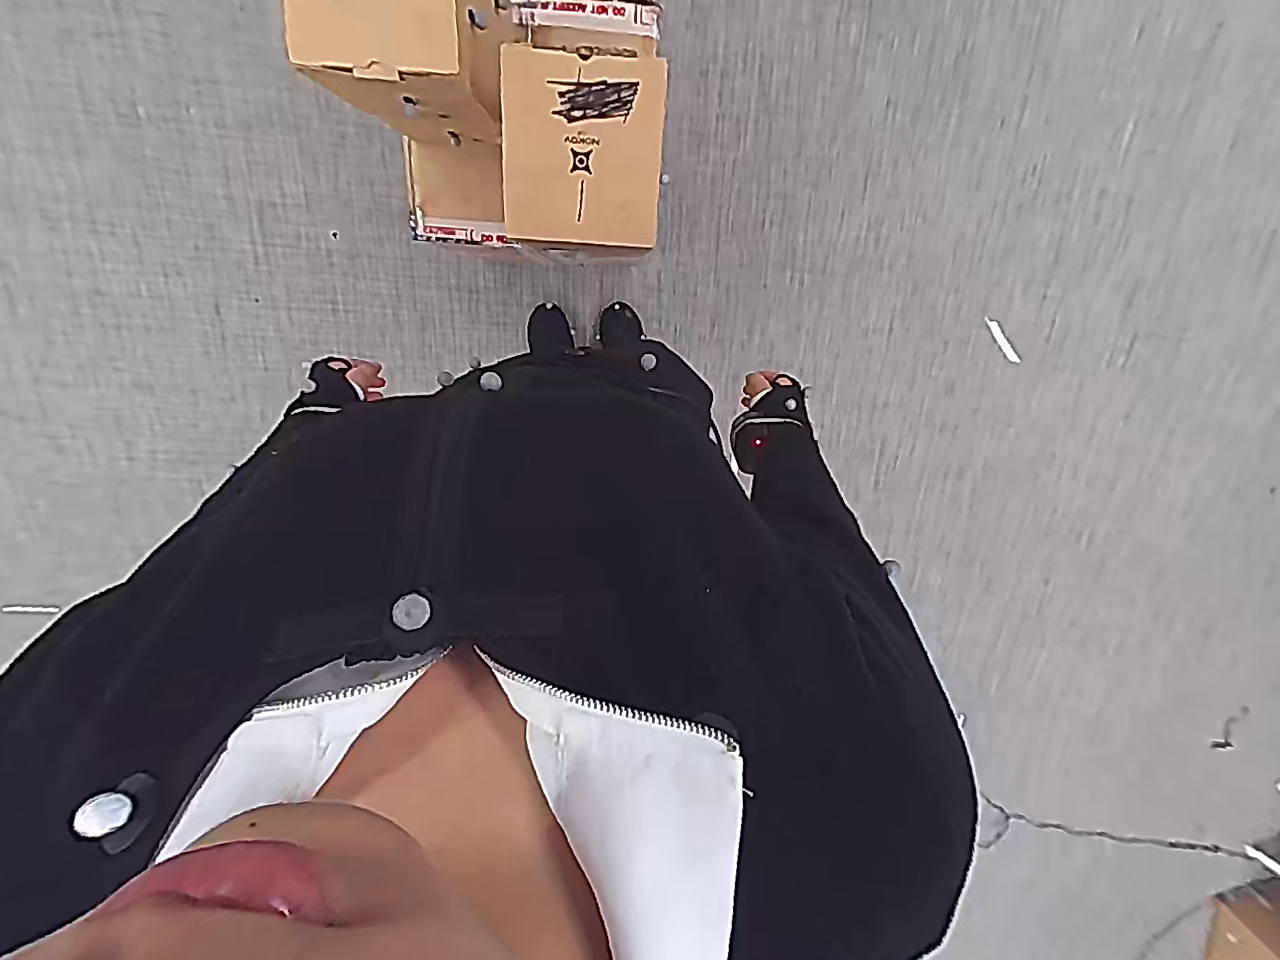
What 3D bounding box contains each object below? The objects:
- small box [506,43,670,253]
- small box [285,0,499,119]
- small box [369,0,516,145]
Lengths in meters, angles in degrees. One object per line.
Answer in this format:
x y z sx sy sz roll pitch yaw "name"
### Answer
-0.060 -0.370 0.637 0.168 0.176 0.179 3 111 -3 "small box"
-0.252 -0.506 0.575 0.168 0.176 0.179 2 111 -2 "small box"
-0.261 -0.573 0.726 0.168 0.176 0.179 1 111 -1 "small box"
